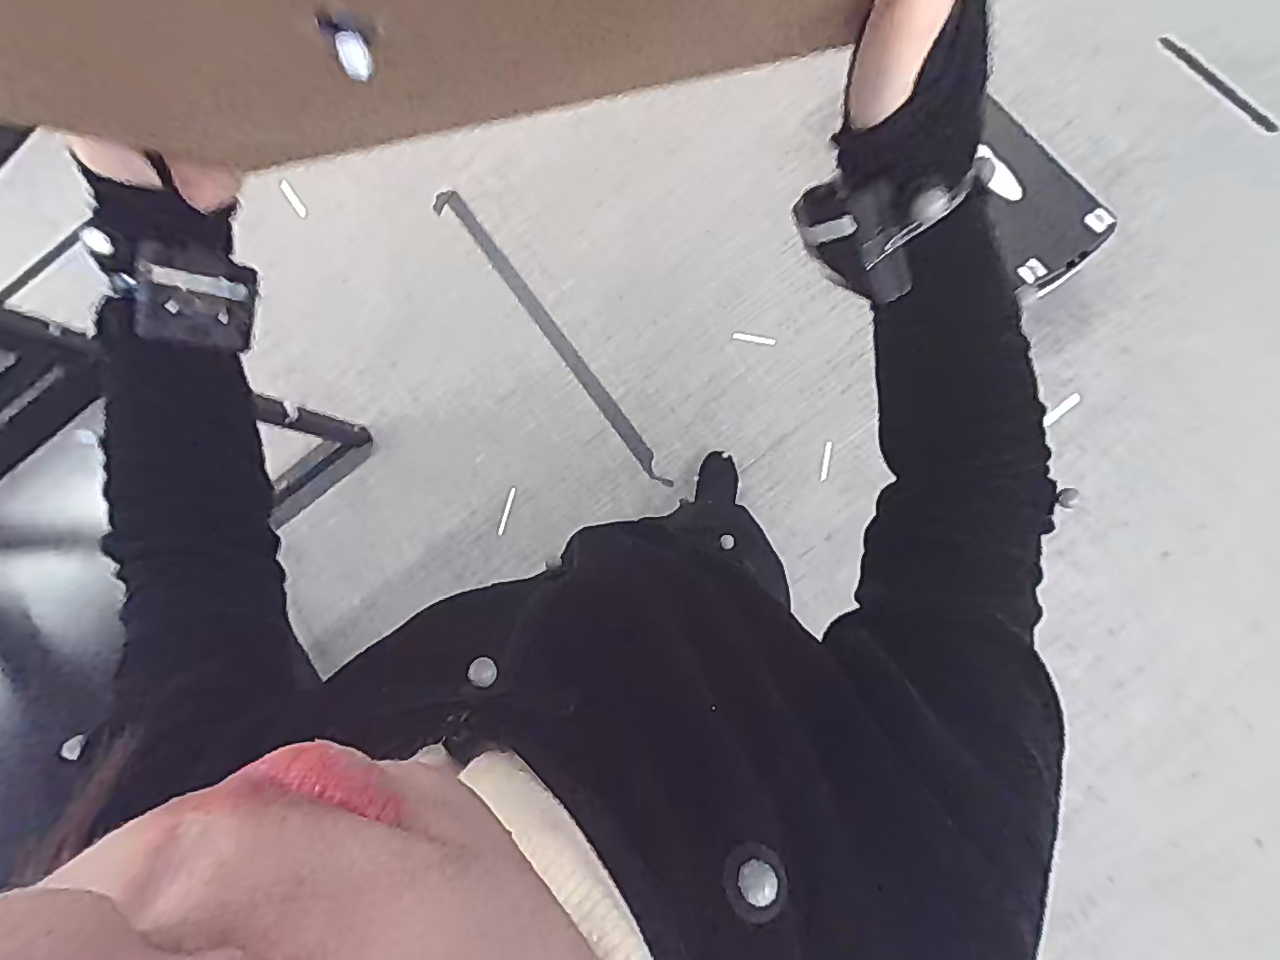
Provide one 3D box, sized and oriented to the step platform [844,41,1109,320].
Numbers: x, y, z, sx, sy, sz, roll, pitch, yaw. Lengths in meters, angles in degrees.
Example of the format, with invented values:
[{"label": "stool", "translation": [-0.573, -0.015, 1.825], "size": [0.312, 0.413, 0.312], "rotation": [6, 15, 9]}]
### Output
[{"label": "step platform", "translation": [0.839, -0.774, 1.400], "size": [0.286, 0.204, 0.684], "rotation": [-32, 80, 3]}]
